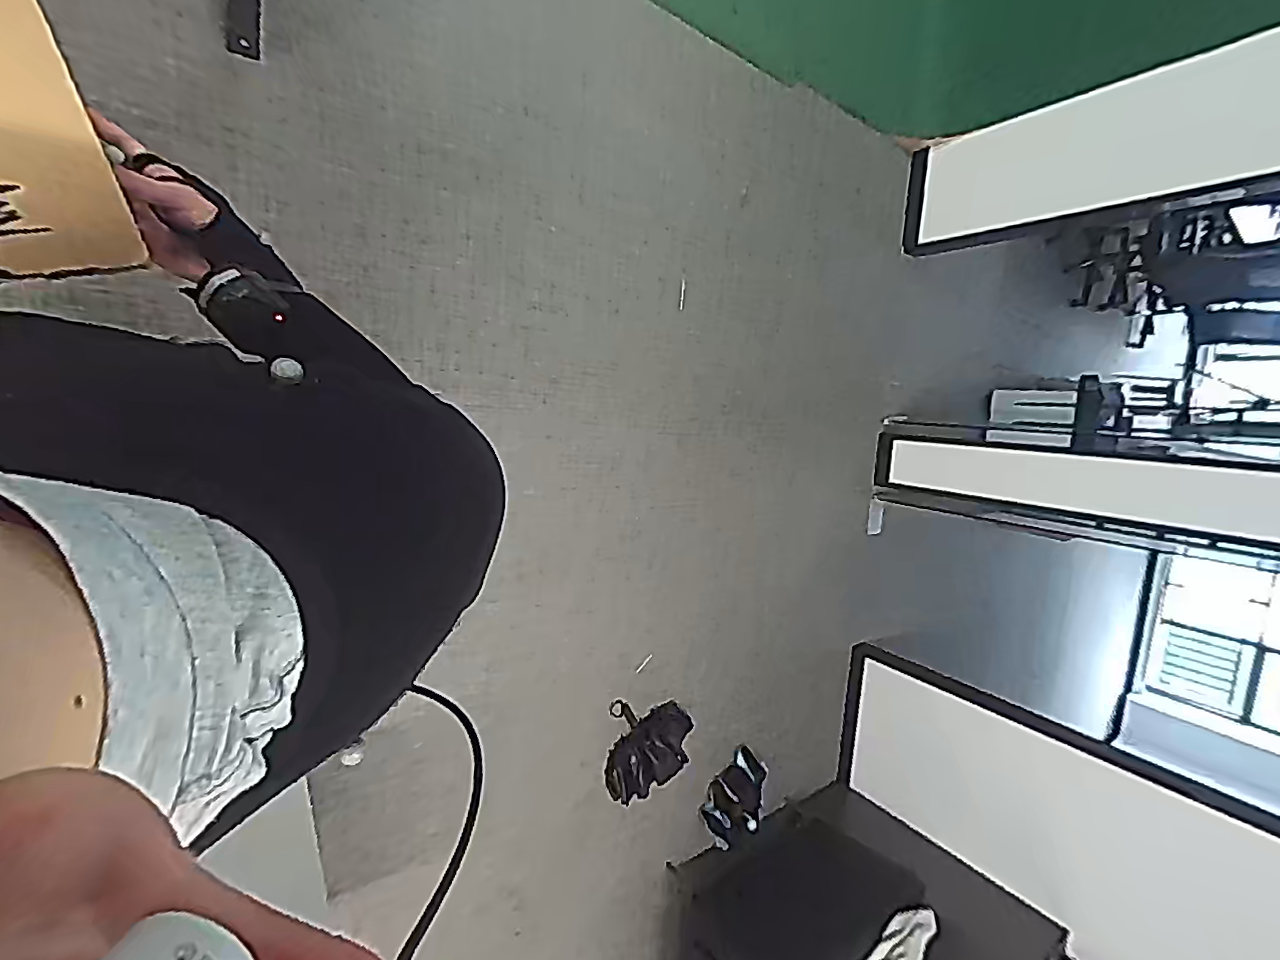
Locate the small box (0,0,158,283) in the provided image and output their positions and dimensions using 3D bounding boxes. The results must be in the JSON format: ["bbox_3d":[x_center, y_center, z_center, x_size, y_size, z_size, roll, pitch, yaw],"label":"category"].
[{"bbox_3d":[-0.475,-0.233,0.365,0.168,0.176,0.179,-29,128,-37],"label":"small box"}]
